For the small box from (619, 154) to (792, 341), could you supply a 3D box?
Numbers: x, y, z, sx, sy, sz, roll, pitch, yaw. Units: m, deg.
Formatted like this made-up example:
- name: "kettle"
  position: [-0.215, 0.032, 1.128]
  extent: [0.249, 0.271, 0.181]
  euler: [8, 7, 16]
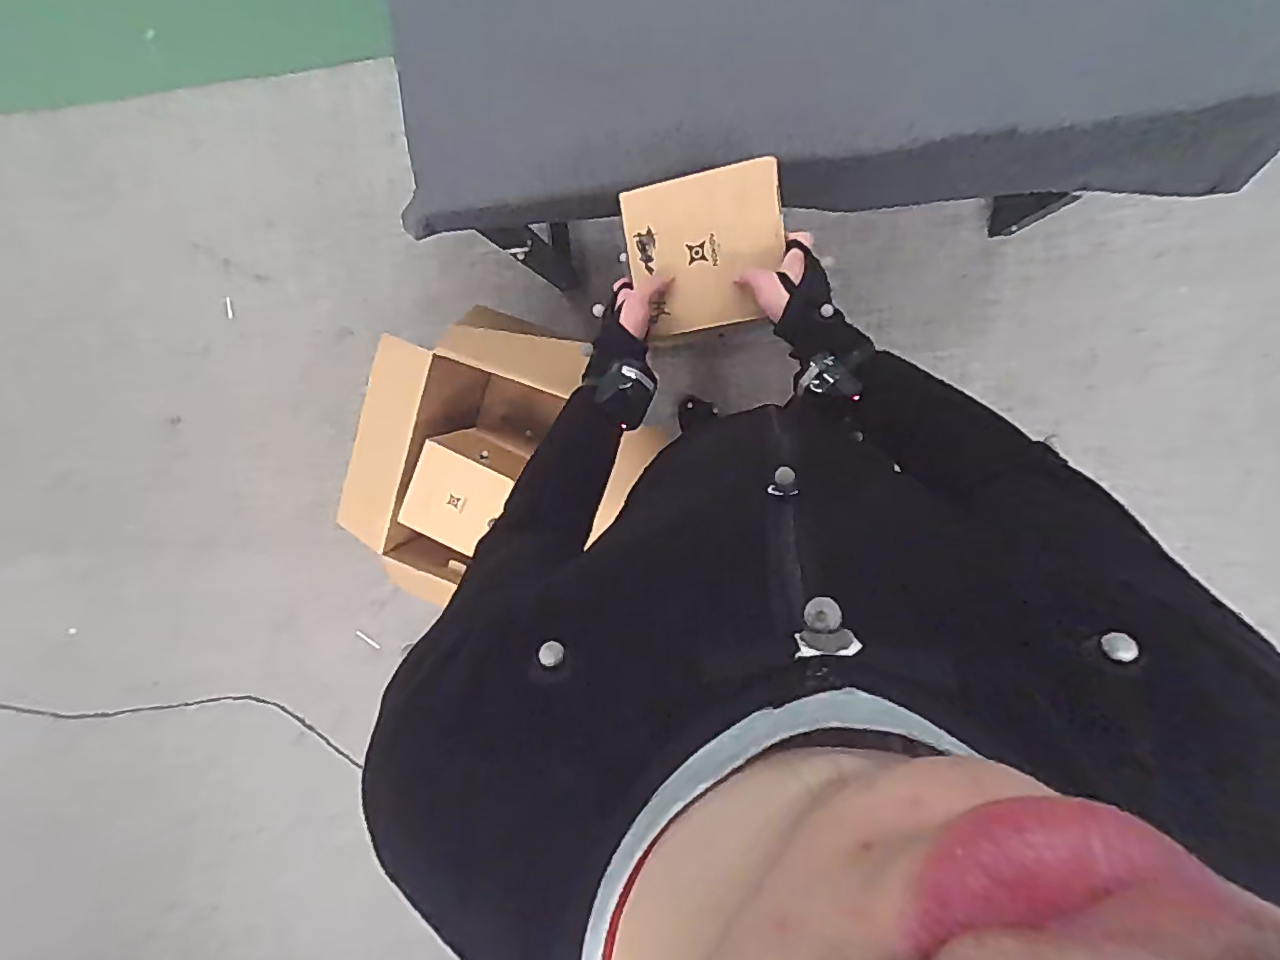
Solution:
- name: "small box"
  position: [0.085, -0.271, 0.674]
  extent: [0.179, 0.176, 0.168]
  euler: [-7, 100, 12]
